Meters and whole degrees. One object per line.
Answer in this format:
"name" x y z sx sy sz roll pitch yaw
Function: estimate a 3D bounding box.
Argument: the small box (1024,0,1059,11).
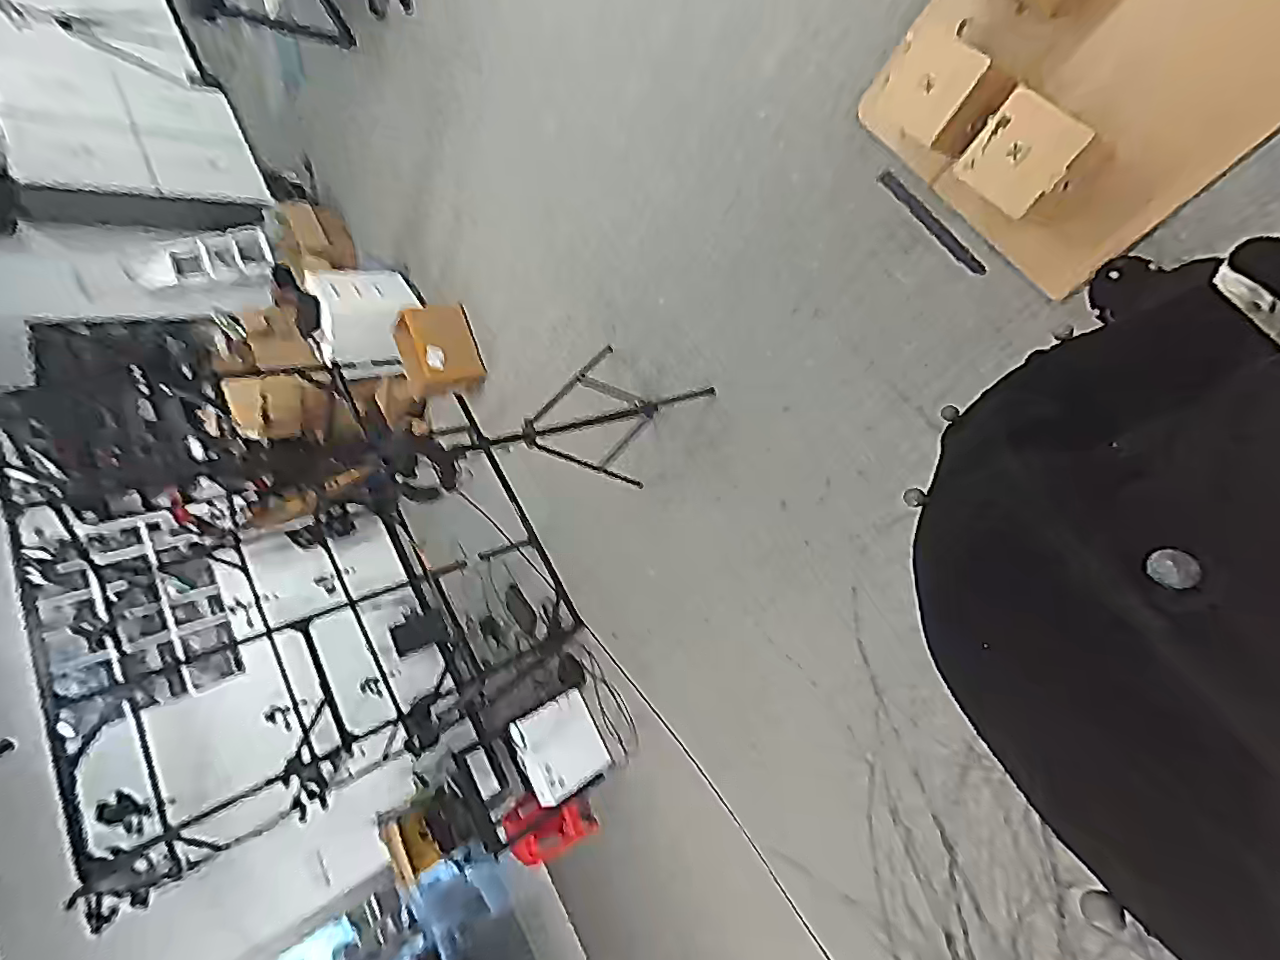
"small box" 0.738 -1.011 0.980 0.168 0.176 0.179 54 138 20

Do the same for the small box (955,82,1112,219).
"small box" 0.778 -0.641 1.069 0.179 0.176 0.168 53 137 20
